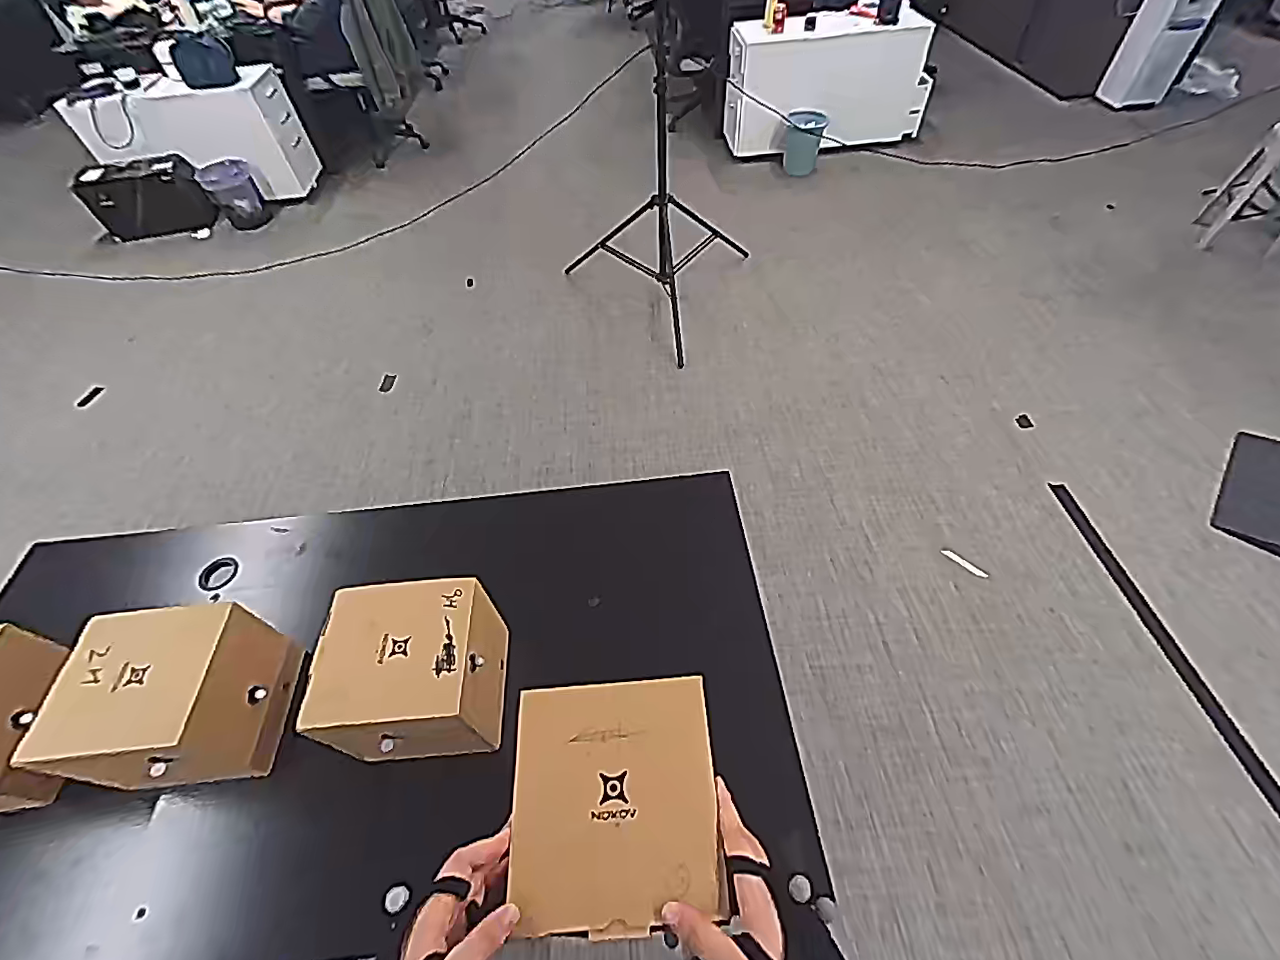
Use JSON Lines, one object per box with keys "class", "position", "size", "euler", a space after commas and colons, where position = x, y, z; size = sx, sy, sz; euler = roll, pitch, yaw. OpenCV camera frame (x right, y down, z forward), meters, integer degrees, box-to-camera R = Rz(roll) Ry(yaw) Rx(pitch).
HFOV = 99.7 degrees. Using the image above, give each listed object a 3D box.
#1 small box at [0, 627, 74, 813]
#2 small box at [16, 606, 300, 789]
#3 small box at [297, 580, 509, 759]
{"class": "small box", "position": [-0.836, 0.307, 0.673], "size": [0.168, 0.176, 0.179], "euler": [-8, 53, -2]}
{"class": "small box", "position": [-0.571, 0.276, 0.678], "size": [0.179, 0.176, 0.168], "euler": [-6, 52, -2]}
{"class": "small box", "position": [-0.280, 0.245, 0.686], "size": [0.179, 0.176, 0.168], "euler": [-5, 52, 0]}
